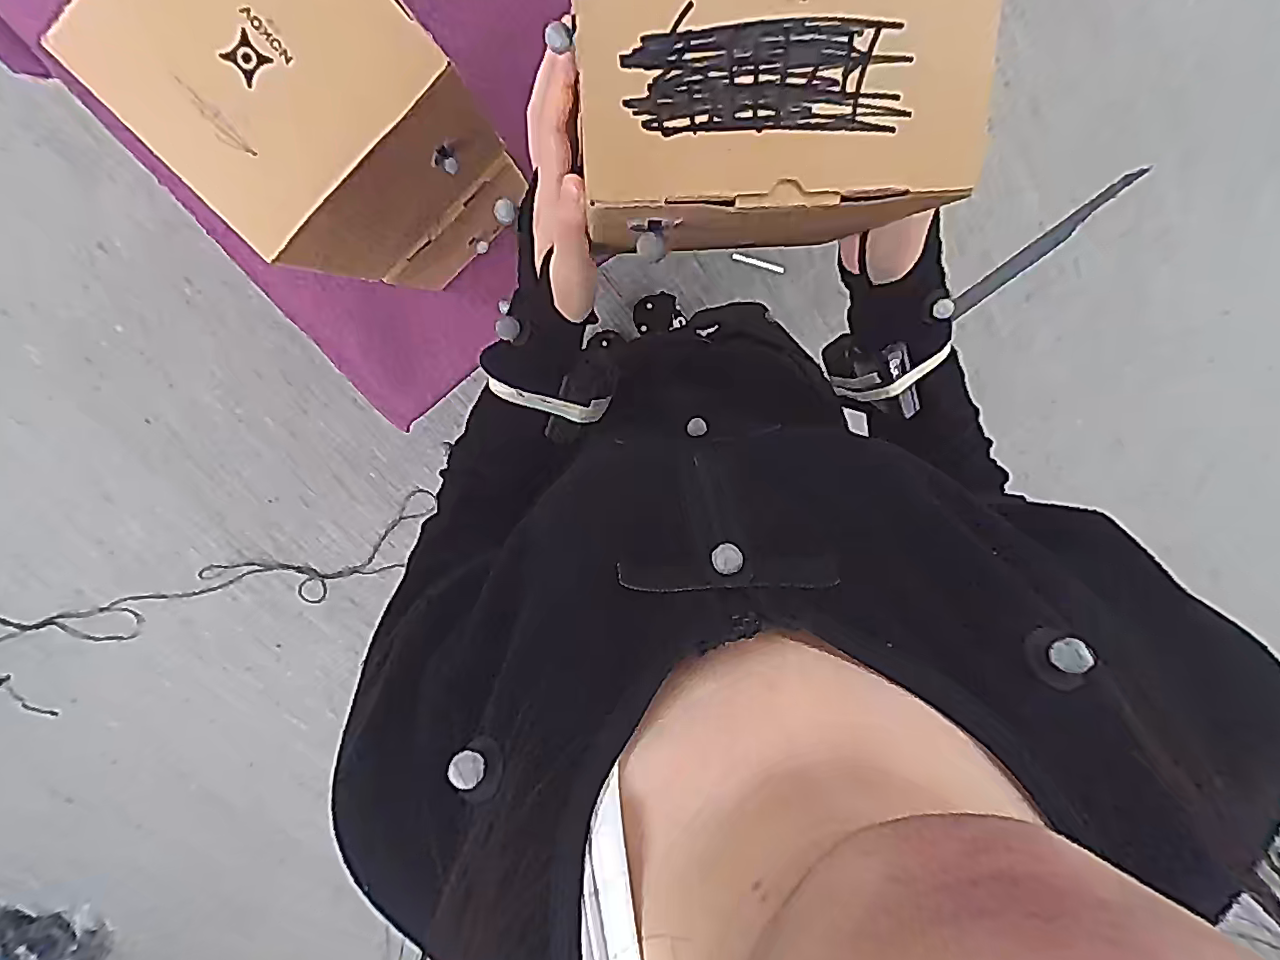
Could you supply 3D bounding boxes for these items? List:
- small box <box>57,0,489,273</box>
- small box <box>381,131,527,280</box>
[{"bbox_3d":[-0.234,-0.281,0.403,0.179,0.176,0.168,-42,103,10],"label":"small box"},{"bbox_3d":[-0.242,-0.328,0.559,0.168,0.176,0.179,-40,105,9],"label":"small box"}]
